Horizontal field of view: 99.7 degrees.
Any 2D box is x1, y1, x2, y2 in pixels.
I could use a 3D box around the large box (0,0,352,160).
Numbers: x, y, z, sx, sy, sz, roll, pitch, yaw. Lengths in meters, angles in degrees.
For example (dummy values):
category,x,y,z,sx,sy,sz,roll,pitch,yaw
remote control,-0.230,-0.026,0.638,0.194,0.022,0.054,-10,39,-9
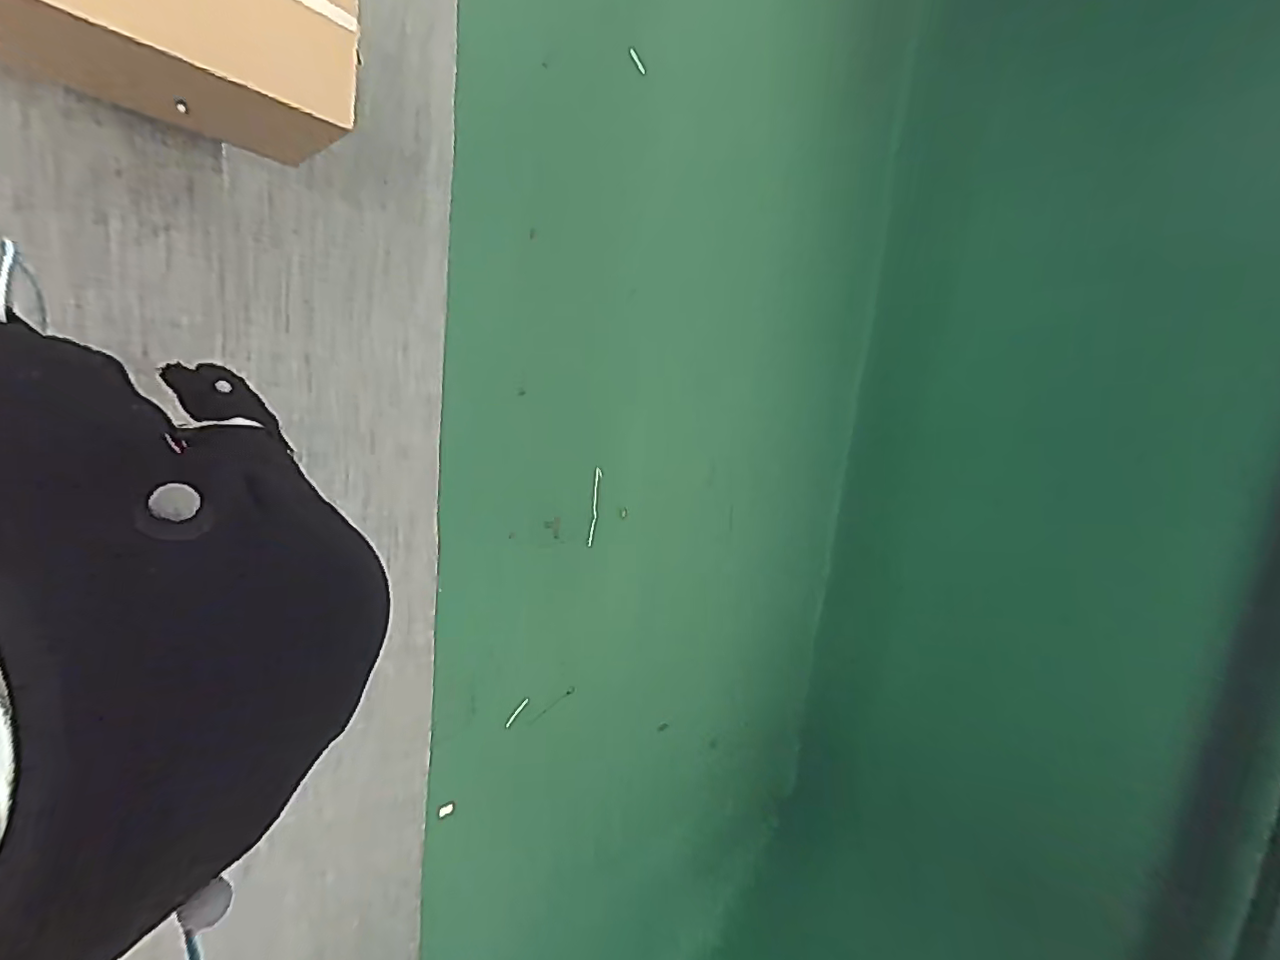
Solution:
category,x,y,z,sx,sy,sz,roll,pitch,yaw
large box,-0.719,-0.764,0.847,0.408,0.320,0.320,-2,102,-48
